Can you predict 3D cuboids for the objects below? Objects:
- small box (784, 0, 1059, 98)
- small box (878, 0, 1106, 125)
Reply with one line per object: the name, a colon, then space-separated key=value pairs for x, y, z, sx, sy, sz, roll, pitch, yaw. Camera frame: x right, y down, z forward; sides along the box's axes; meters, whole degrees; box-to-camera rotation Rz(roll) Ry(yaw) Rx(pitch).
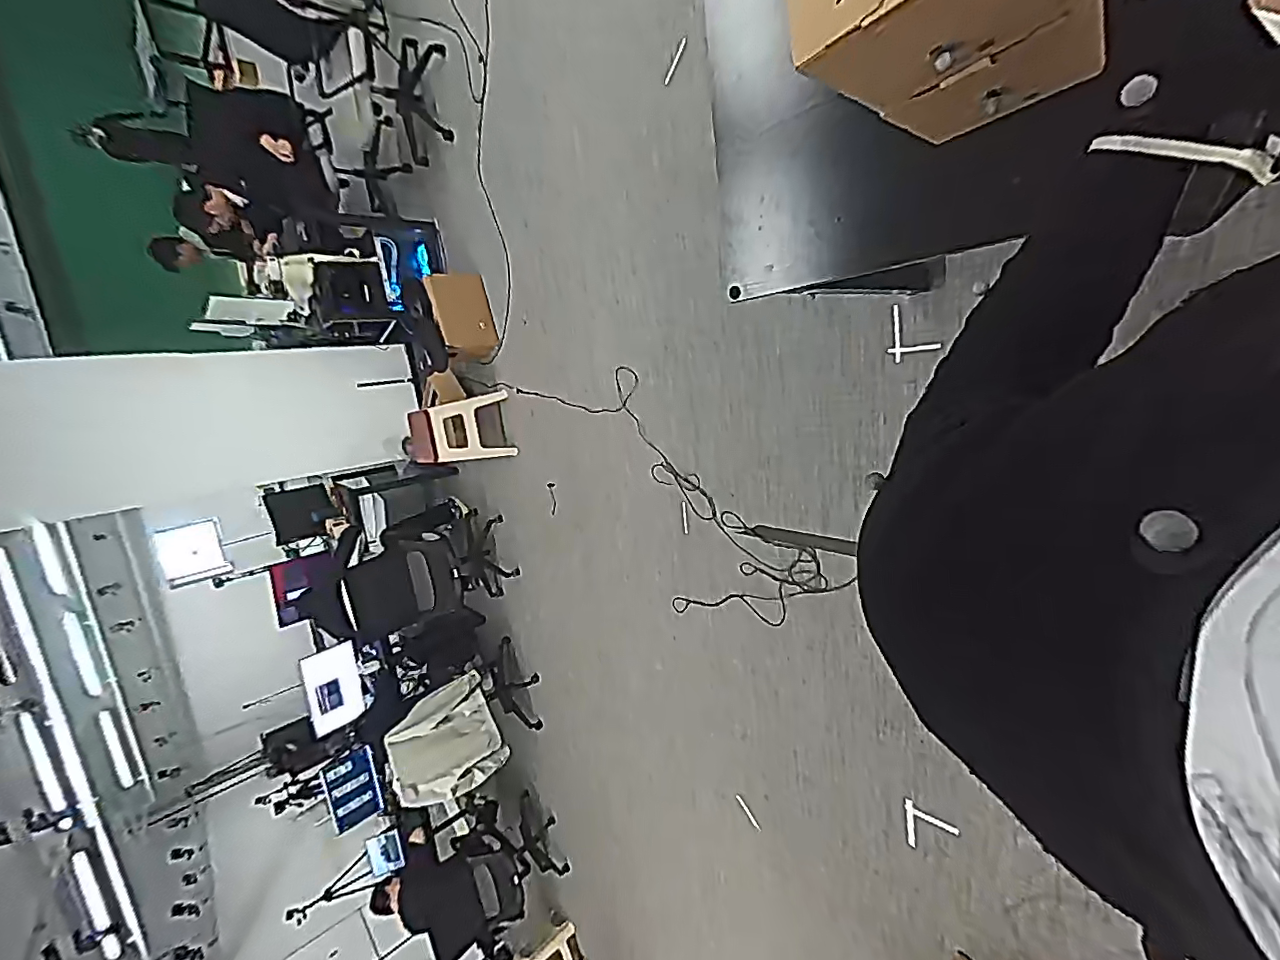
small box: x=0.231 y=-0.466 z=0.449 sx=0.168 sy=0.176 sz=0.179 roll=-2 pitch=101 yaw=50
small box: x=0.356 y=-0.497 z=0.556 sx=0.168 sy=0.176 sz=0.179 roll=0 pitch=102 yaw=50
